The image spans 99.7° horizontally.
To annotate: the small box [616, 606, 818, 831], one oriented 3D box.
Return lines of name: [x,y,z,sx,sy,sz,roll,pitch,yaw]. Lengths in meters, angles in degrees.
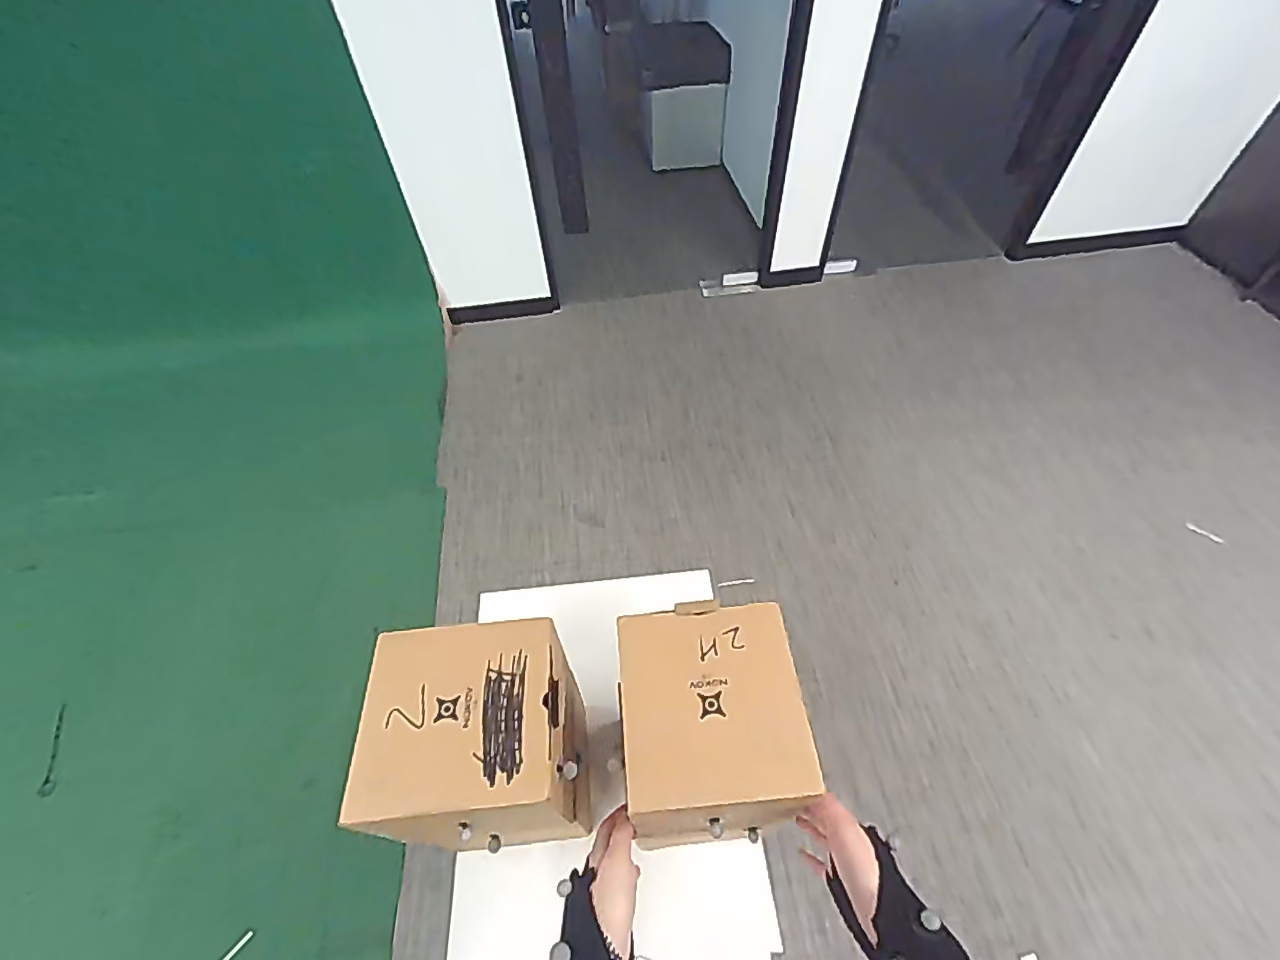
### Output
small box: [0.065,0.251,0.557,0.168,0.176,0.179,-4,51,-1]

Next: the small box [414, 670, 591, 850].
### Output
small box: [-0.161,0.361,0.691,0.179,0.176,0.168,-6,52,-3]
